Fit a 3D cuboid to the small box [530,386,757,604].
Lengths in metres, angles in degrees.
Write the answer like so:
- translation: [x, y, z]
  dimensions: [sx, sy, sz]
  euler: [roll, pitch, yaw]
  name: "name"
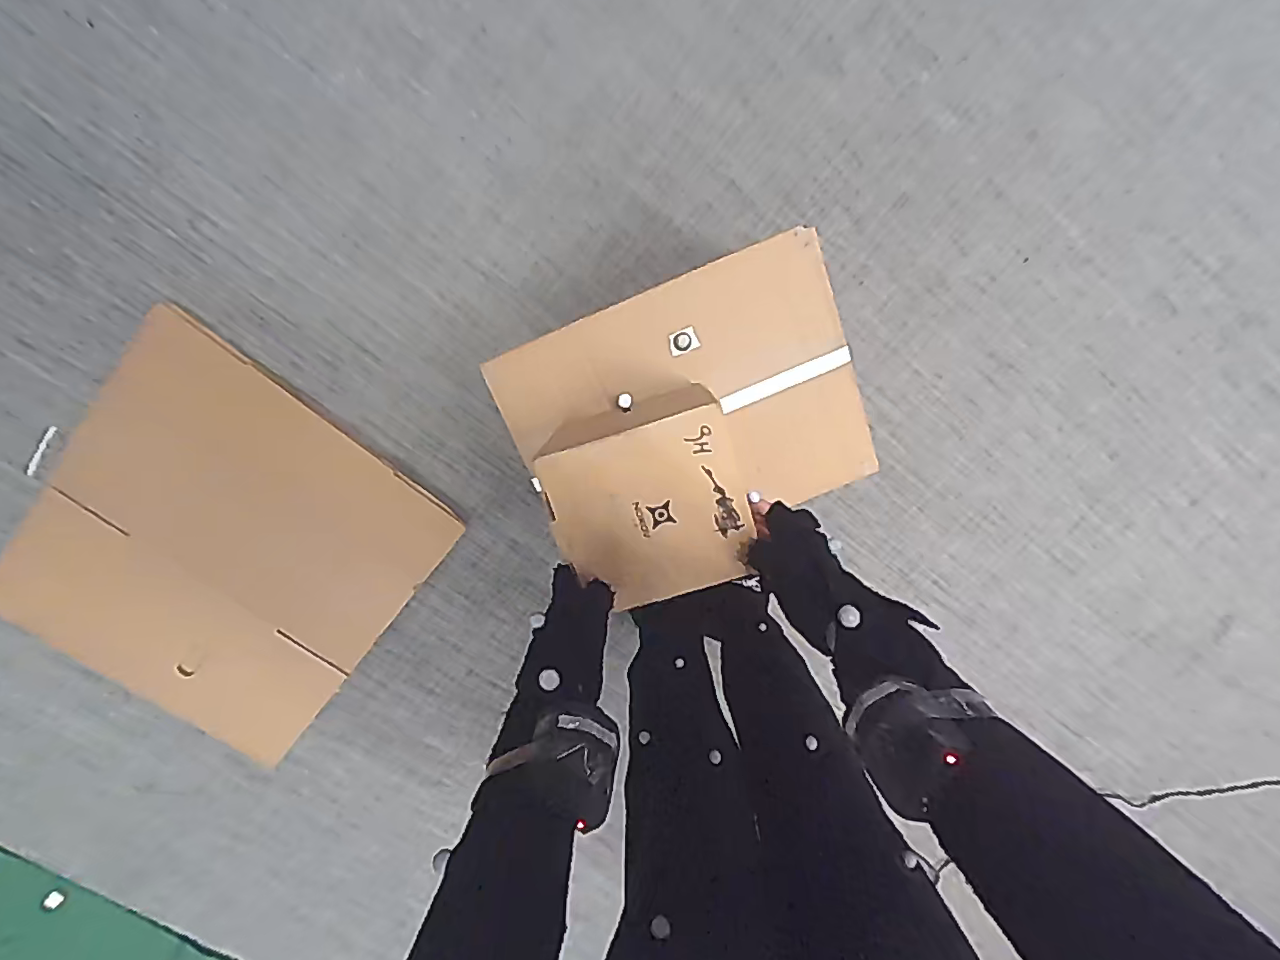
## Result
- translation: [0.008, 0.005, 0.582]
  dimensions: [0.179, 0.176, 0.168]
  euler: [-19, 101, 6]
  name: "small box"
